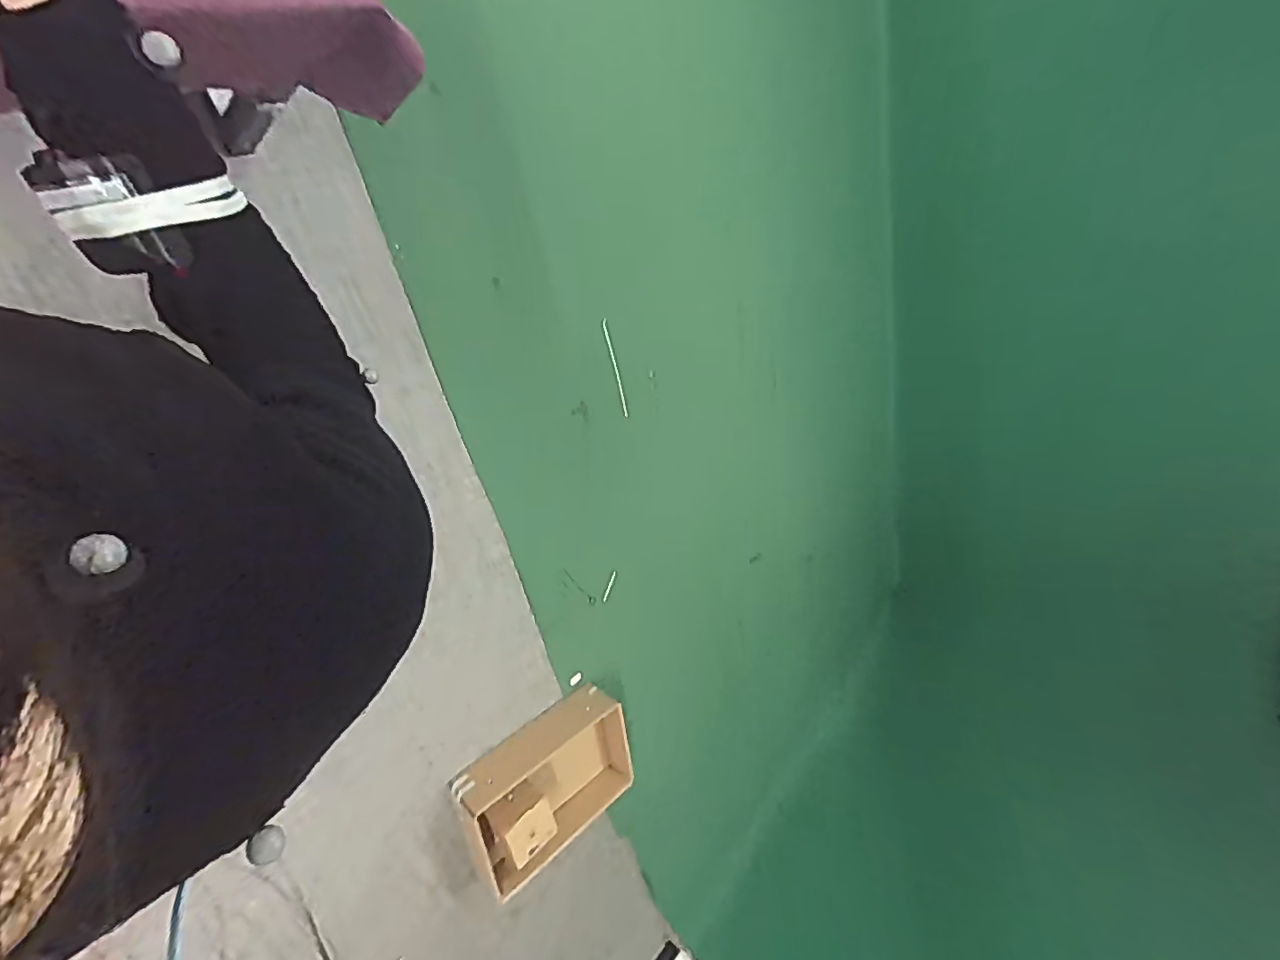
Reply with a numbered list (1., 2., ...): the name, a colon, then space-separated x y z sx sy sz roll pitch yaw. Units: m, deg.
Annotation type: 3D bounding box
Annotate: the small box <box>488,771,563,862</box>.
1. small box: -0.391 1.125 1.832 0.168 0.176 0.179 -28 116 -37
